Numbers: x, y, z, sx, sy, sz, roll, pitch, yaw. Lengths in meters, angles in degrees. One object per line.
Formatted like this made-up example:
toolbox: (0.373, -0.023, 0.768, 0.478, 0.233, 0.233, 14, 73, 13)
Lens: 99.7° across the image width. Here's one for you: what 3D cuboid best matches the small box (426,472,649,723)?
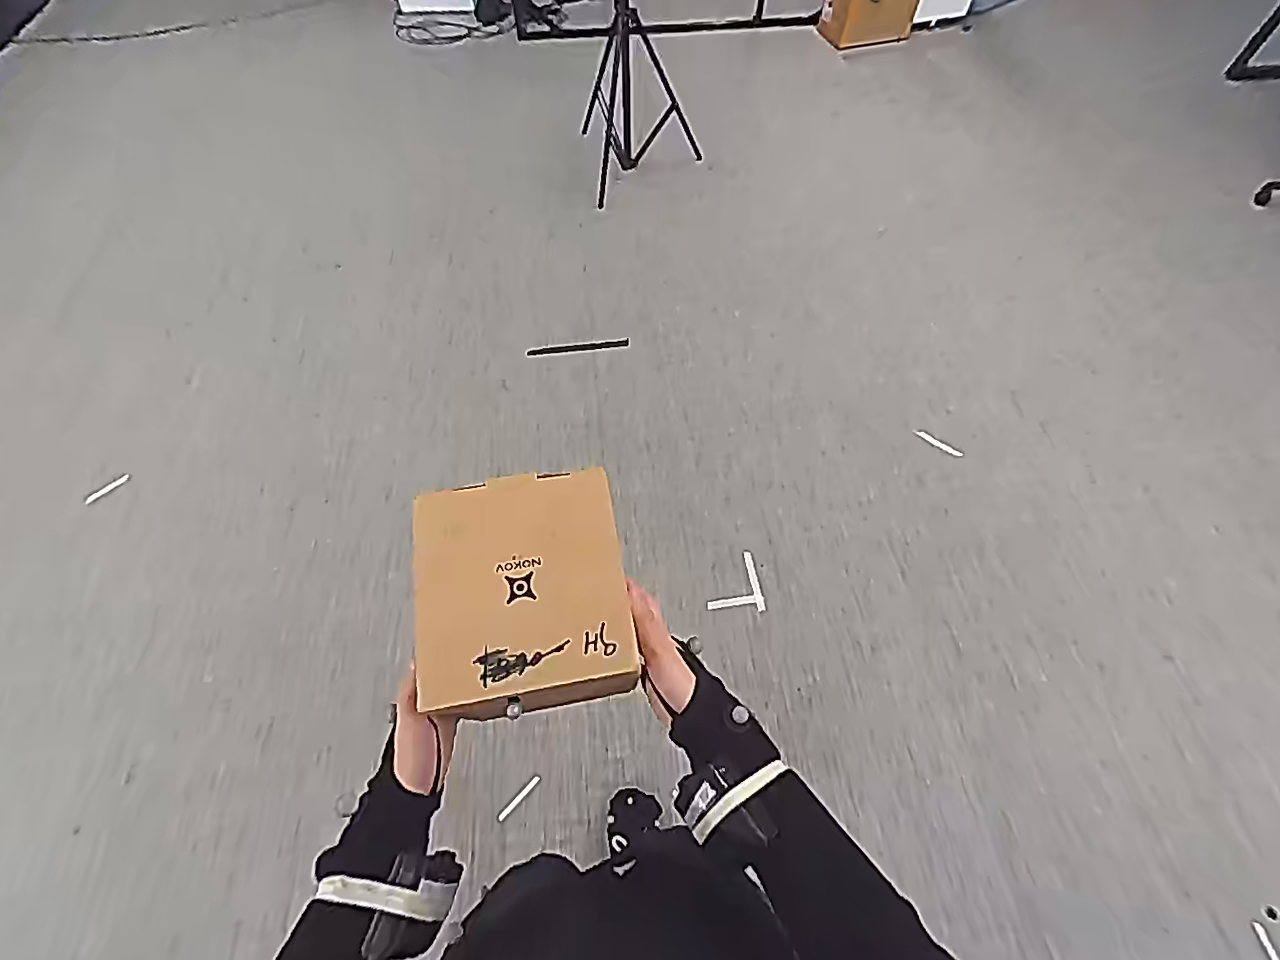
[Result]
small box: (-0.091, 0.115, 0.503, 0.168, 0.176, 0.179, -9, 64, -6)
